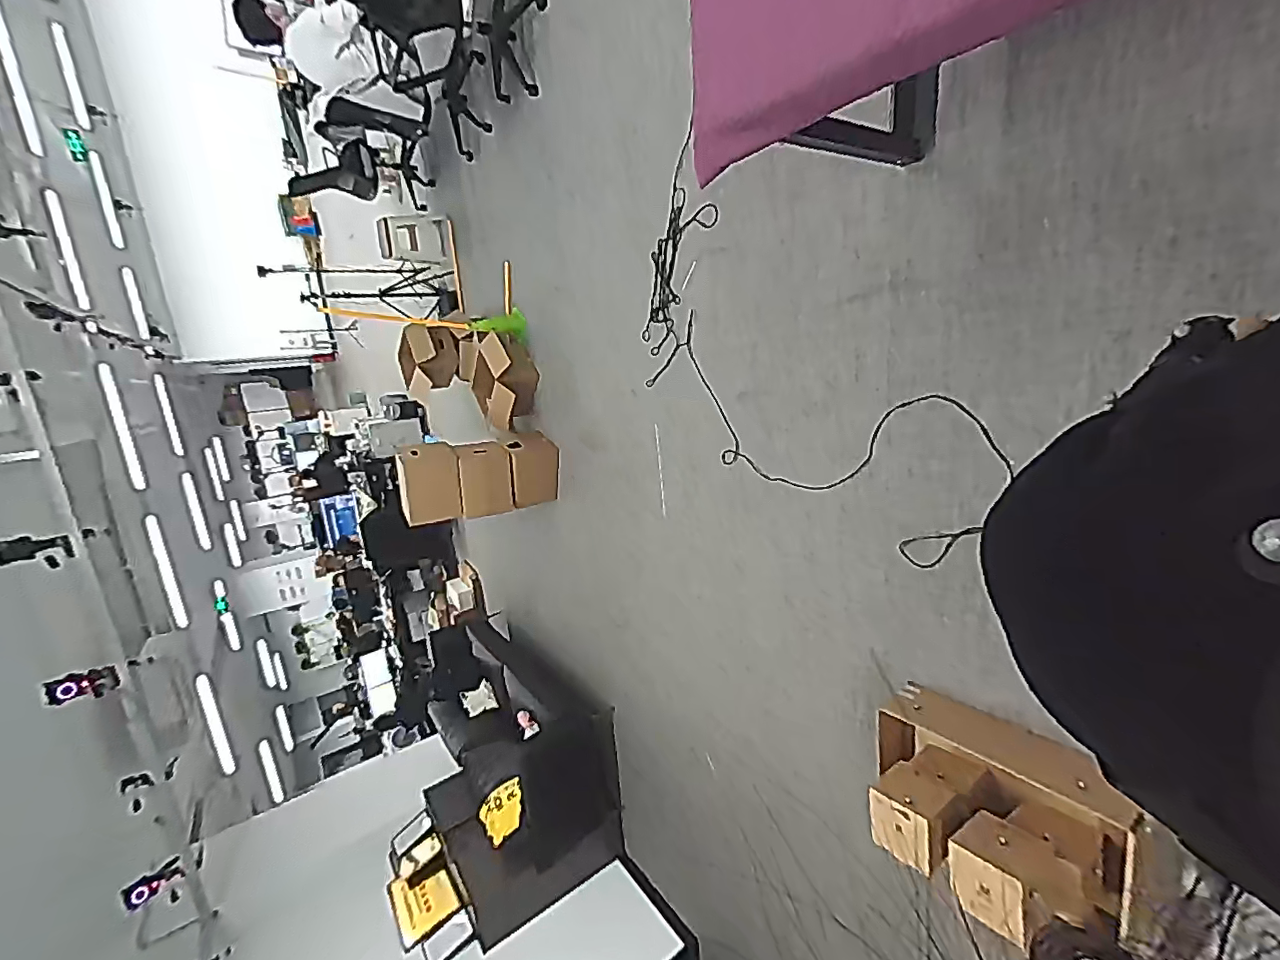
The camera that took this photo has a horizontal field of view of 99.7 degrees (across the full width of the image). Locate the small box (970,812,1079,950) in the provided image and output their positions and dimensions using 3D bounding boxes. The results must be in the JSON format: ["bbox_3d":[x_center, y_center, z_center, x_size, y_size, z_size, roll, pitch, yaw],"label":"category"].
[{"bbox_3d":[0.938,0.961,1.318,0.168,0.176,0.179,3,103,60],"label":"small box"}]

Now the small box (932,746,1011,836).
[{"bbox_3d":[0.957,0.915,1.581,0.179,0.176,0.168,-1,100,57],"label":"small box"}]

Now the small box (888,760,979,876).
[{"bbox_3d":[0.815,0.925,1.496,0.168,0.176,0.179,6,107,55],"label":"small box"}]

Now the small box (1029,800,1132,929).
[{"bbox_3d":[1.102,0.953,1.364,0.179,0.176,0.168,7,106,59],"label":"small box"}]
